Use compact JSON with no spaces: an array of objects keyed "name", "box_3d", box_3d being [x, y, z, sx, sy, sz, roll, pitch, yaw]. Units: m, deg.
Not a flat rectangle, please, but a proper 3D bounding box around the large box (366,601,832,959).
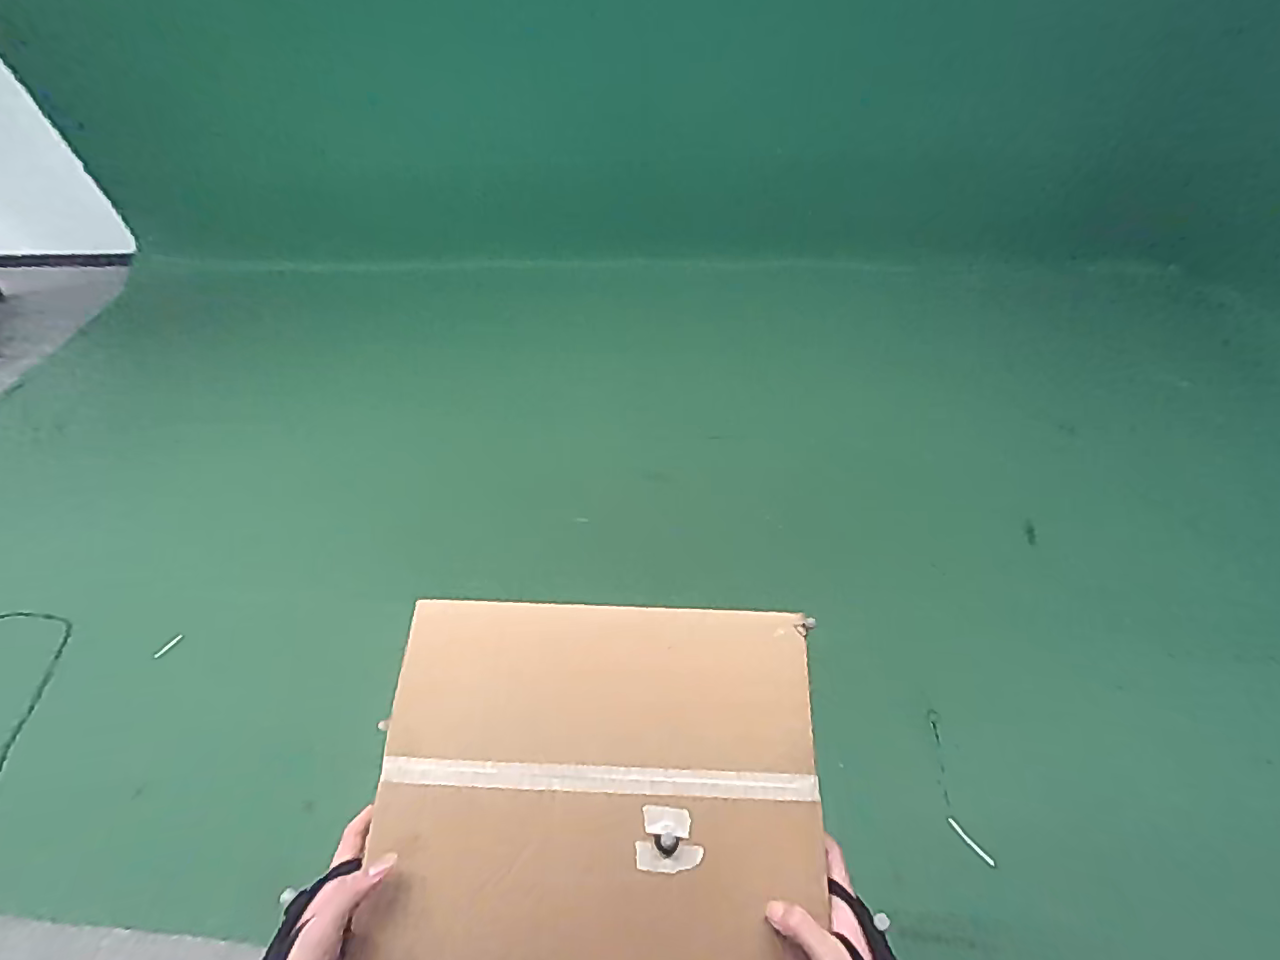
[{"name":"large box","box_3d":[-0.034,0.333,0.649,0.408,0.320,0.320,1,67,1]}]
